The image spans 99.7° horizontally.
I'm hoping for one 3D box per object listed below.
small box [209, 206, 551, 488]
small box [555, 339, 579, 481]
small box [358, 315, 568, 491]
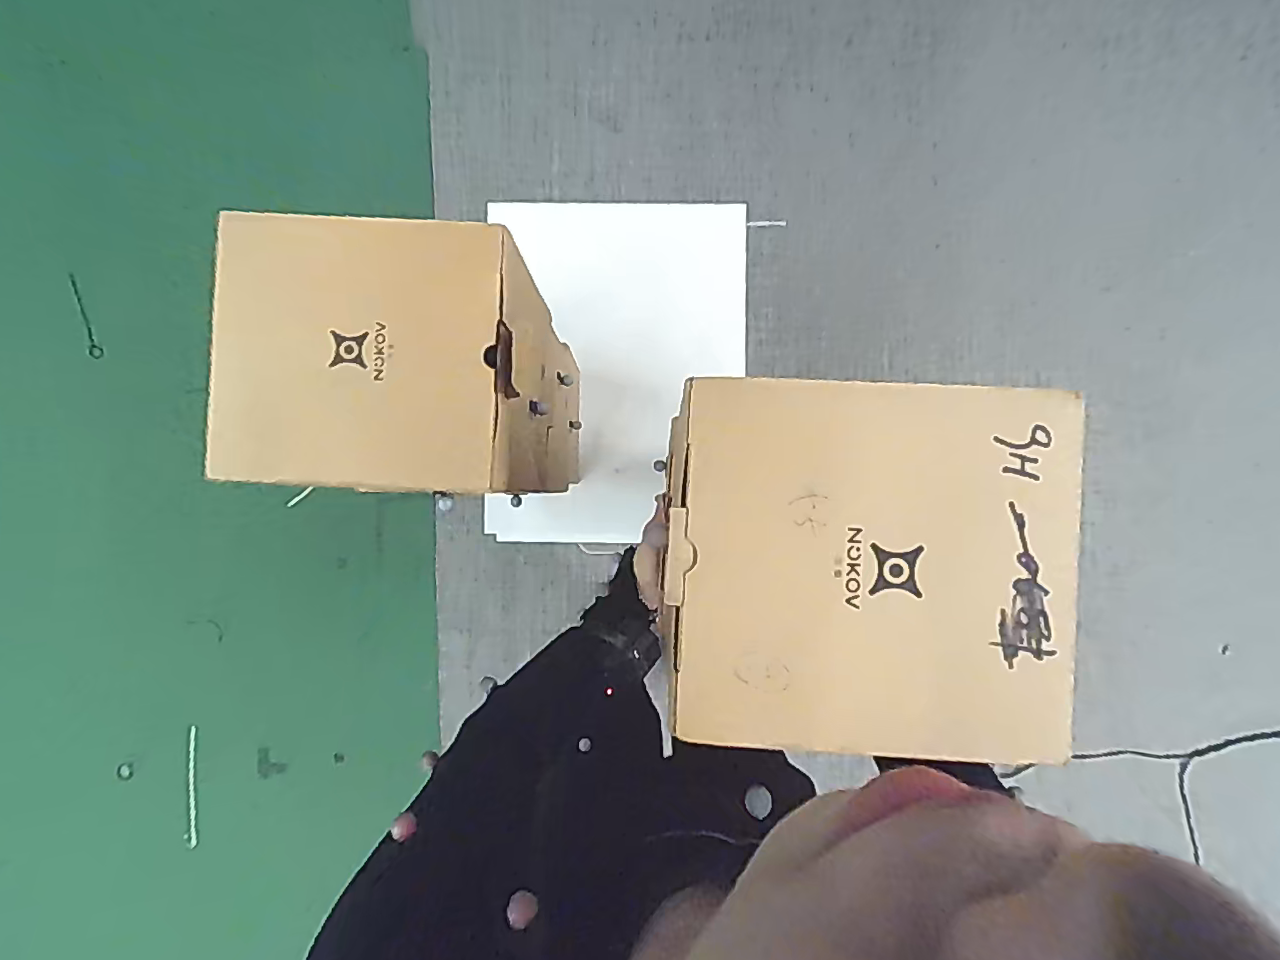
[{"bbox_3d":[-0.171,-0.081,0.409,0.179,0.176,0.168,2,89,-1],"label":"small box"},{"bbox_3d":[-0.172,-0.086,0.734,0.168,0.176,0.179,1,89,-2],"label":"small box"},{"bbox_3d":[-0.170,-0.073,0.572,0.179,0.176,0.168,0,88,0],"label":"small box"}]
